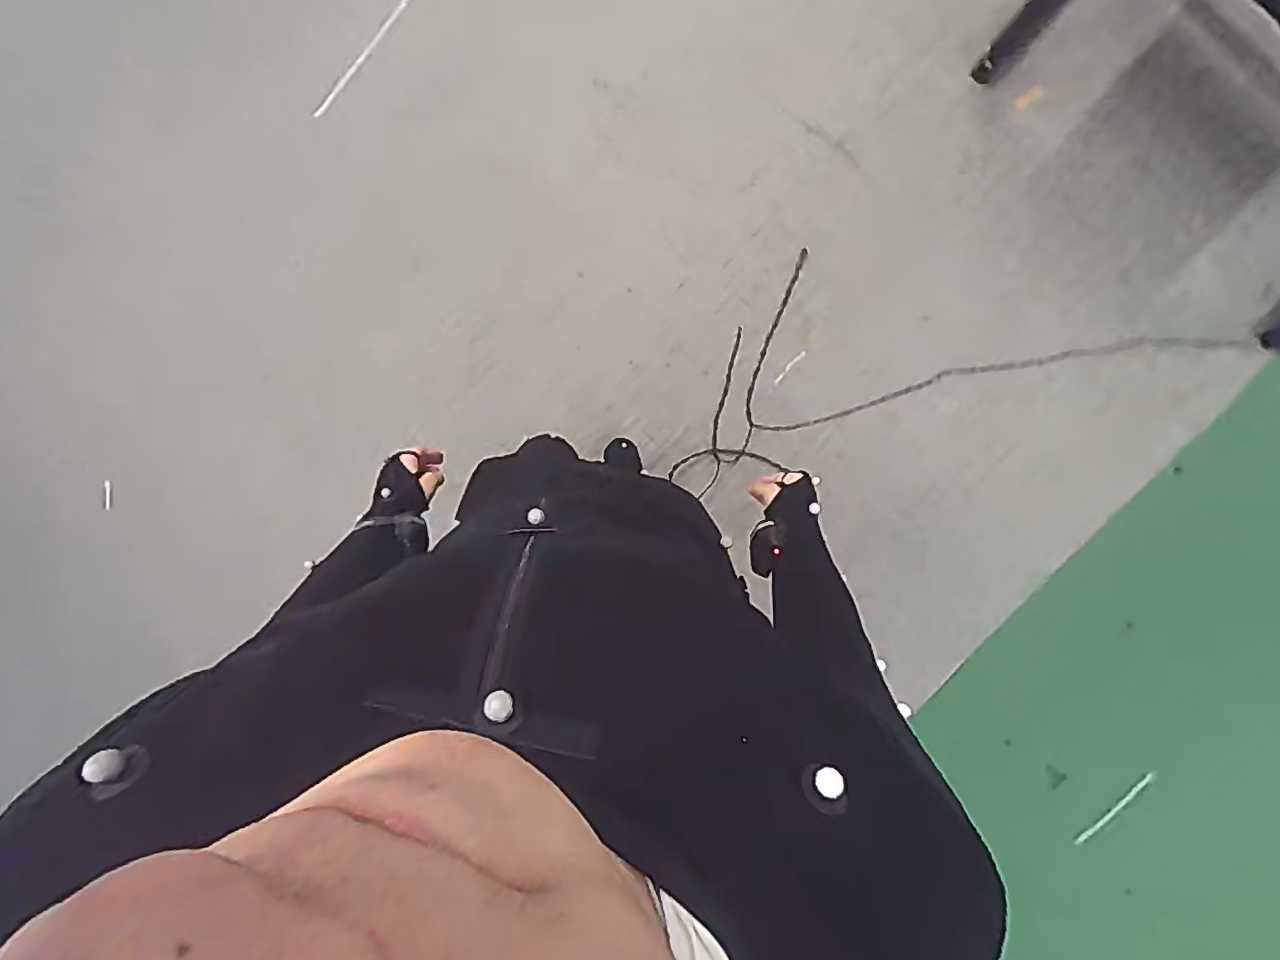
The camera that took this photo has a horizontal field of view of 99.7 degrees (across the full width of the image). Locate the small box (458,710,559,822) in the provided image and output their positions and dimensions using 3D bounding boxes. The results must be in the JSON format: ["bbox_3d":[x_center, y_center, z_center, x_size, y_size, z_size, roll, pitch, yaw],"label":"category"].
[{"bbox_3d":[-0.342,0.746,1.439,0.179,0.176,0.168,44,95,-2],"label":"small box"}]
